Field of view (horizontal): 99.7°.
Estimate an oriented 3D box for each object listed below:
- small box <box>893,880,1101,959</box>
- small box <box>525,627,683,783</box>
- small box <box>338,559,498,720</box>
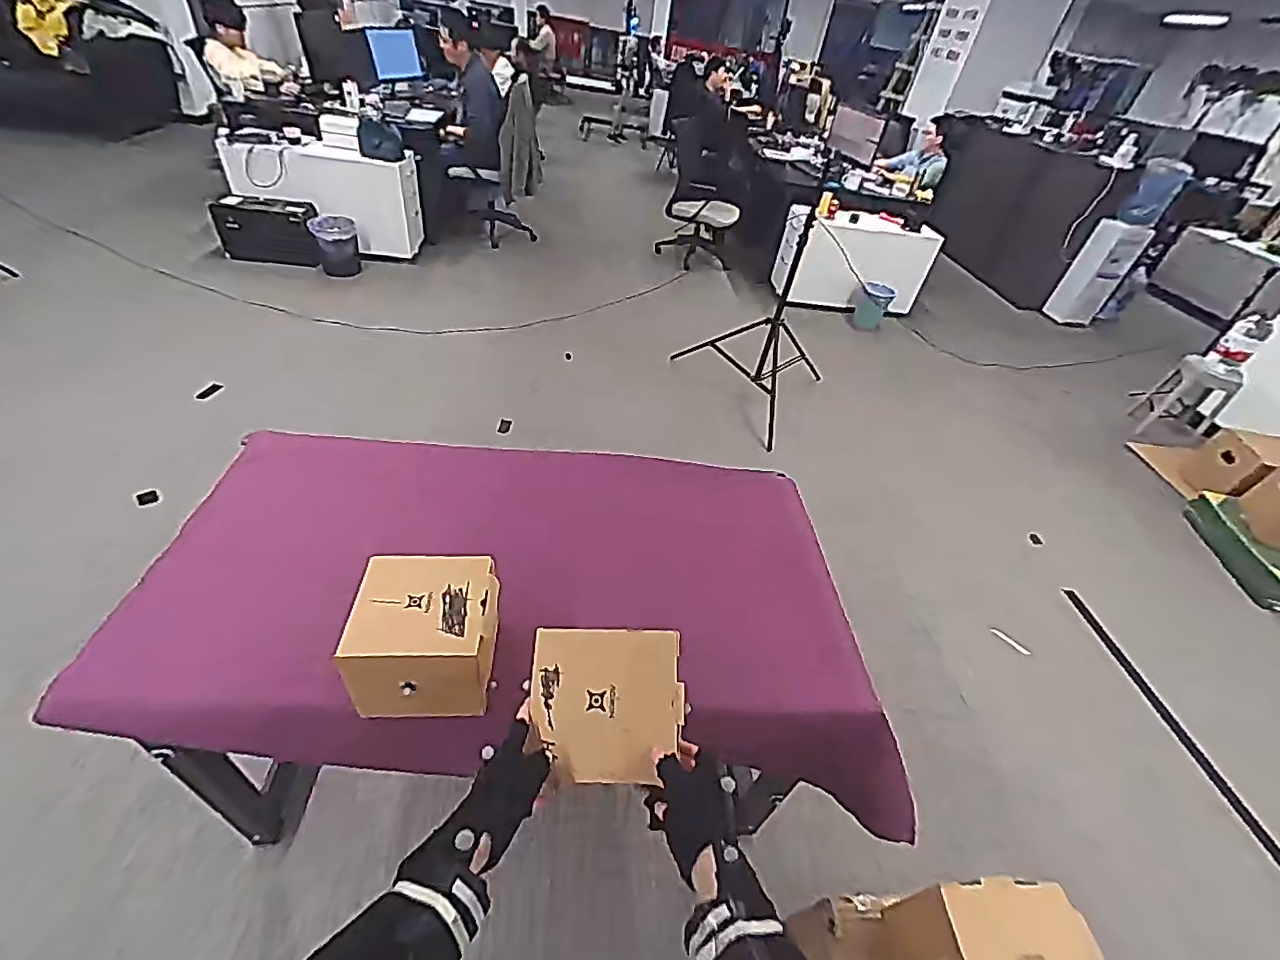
[{"bbox_3d":[0.444,0.618,0.663,0.168,0.176,0.179,3,43,-5],"label":"small box"},{"bbox_3d":[-0.037,0.290,0.698,0.179,0.176,0.168,0,63,2],"label":"small box"},{"bbox_3d":[-0.306,0.235,0.793,0.179,0.176,0.168,2,41,-8],"label":"small box"}]
